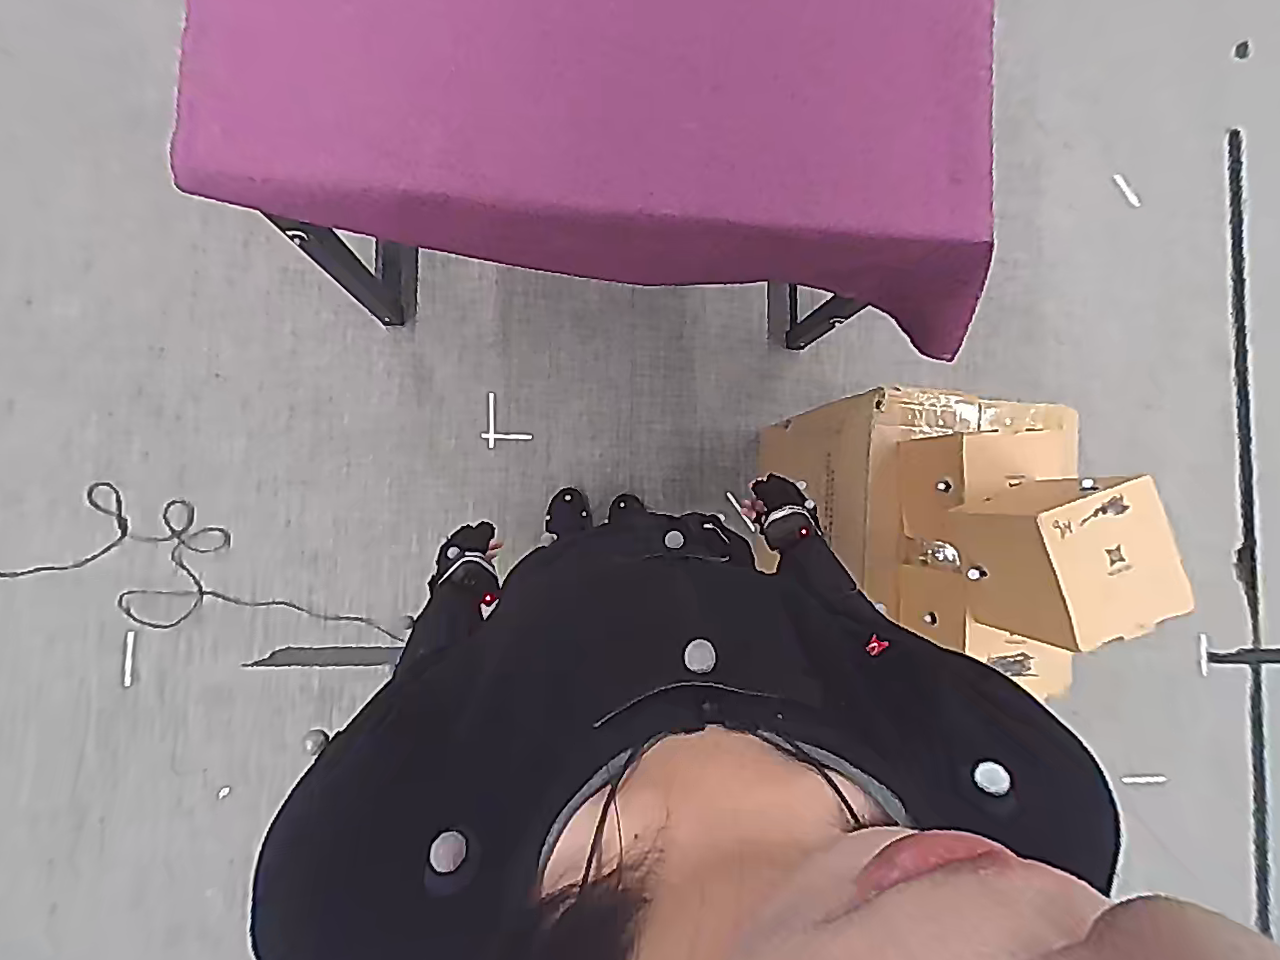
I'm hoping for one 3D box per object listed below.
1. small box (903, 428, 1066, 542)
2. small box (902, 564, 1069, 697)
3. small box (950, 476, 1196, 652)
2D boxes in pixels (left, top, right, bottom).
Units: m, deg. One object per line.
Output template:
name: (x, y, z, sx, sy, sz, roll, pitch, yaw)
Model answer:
small box: (0.556, 0.012, 0.890, 0.168, 0.176, 0.179, -2, 89, -5)
small box: (0.549, 0.235, 0.877, 0.168, 0.176, 0.179, 3, 85, -6)
small box: (0.559, 0.101, 0.722, 0.168, 0.176, 0.179, -18, 89, -7)
